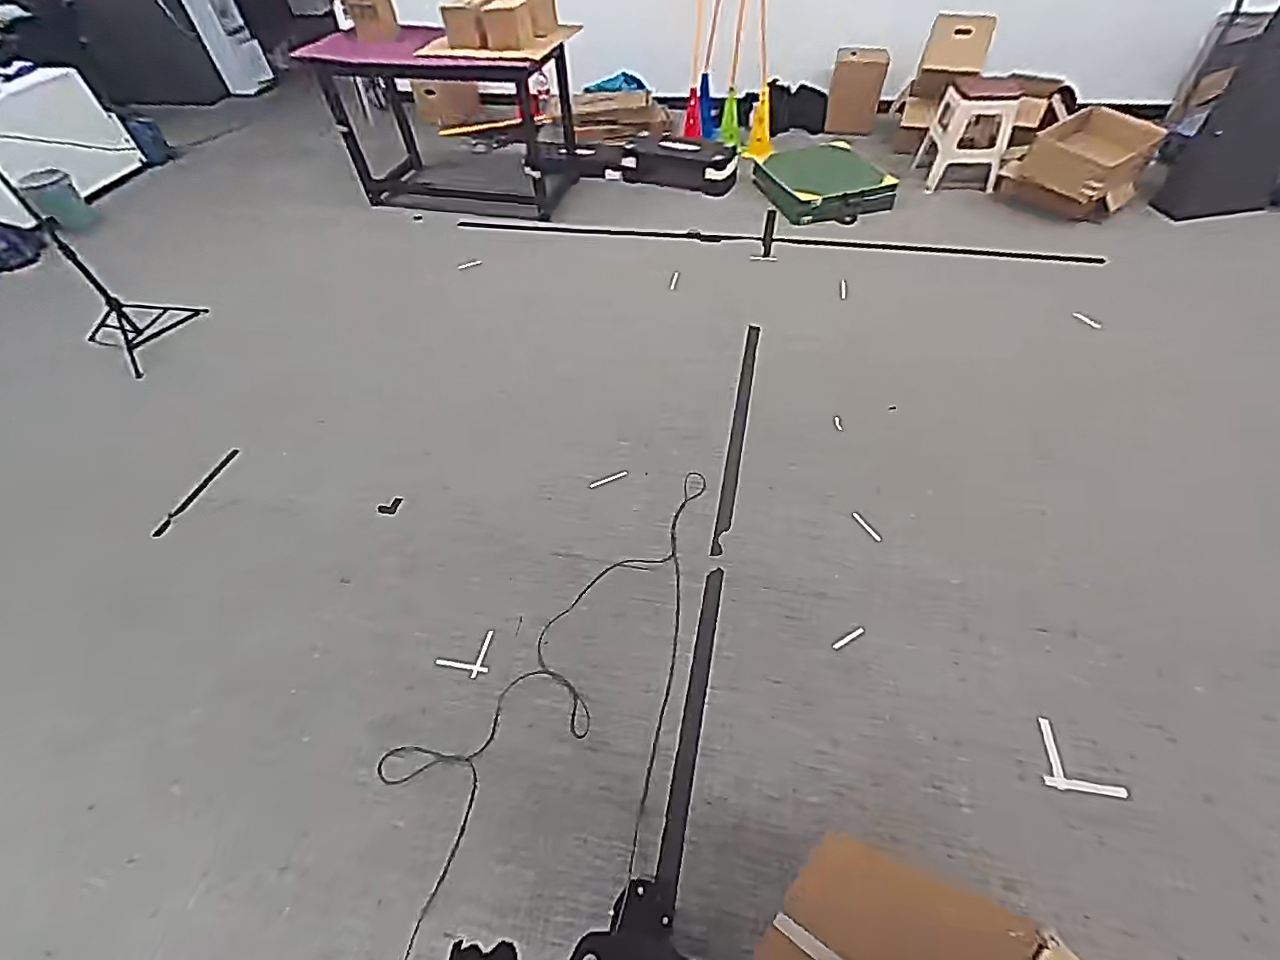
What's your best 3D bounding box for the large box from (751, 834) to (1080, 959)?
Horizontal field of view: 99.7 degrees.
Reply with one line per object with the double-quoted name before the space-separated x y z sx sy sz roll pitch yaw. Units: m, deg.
"large box" 0.380 0.737 0.675 0.320 0.408 0.320 45 65 3
